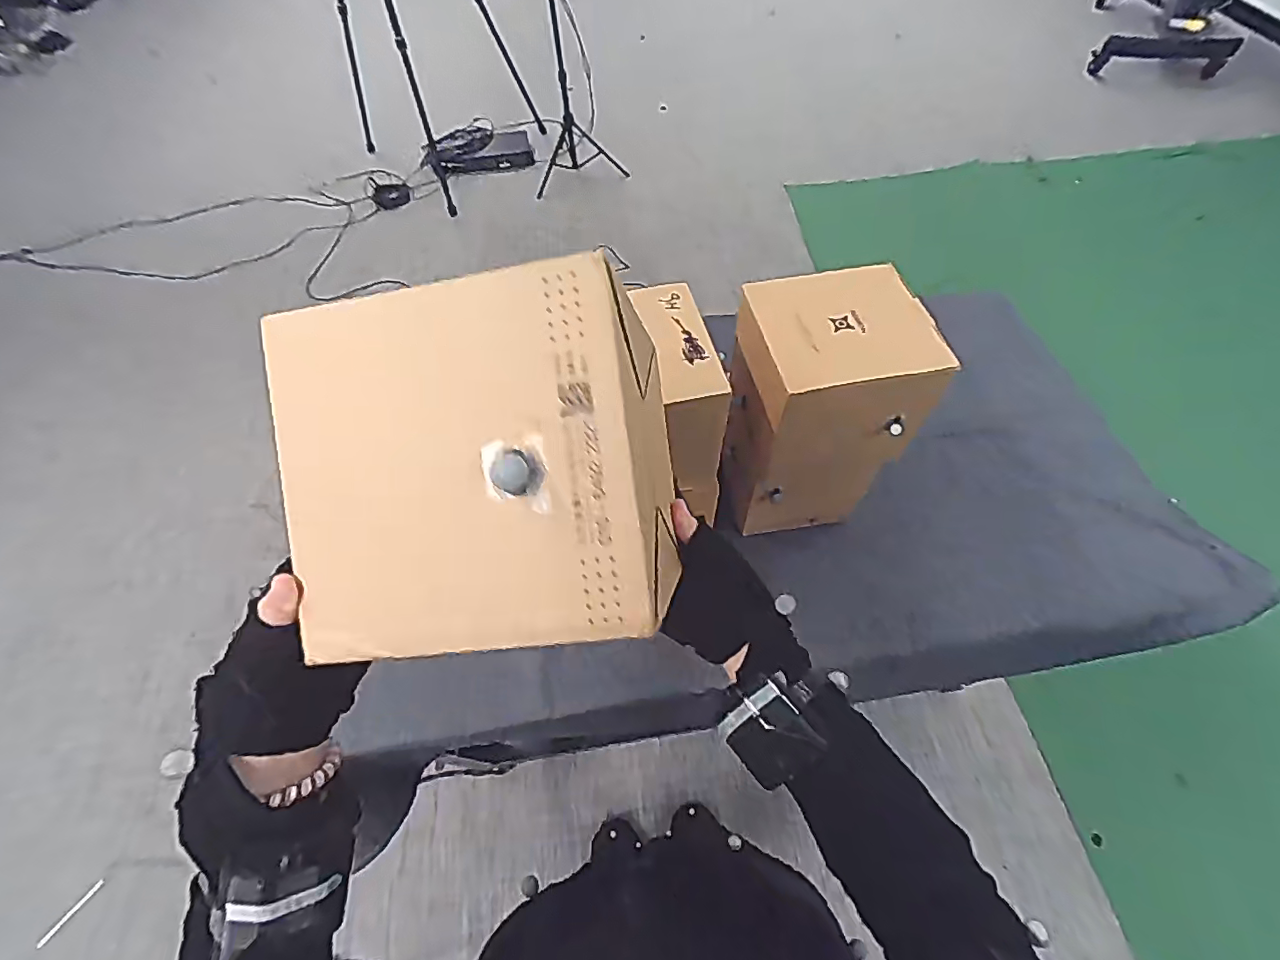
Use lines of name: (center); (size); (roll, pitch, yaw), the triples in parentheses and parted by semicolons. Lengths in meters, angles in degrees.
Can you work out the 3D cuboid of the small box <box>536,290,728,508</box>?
small box: (-0.009, -0.086, 0.627); (0.179, 0.176, 0.168); (-13, 59, -4)
